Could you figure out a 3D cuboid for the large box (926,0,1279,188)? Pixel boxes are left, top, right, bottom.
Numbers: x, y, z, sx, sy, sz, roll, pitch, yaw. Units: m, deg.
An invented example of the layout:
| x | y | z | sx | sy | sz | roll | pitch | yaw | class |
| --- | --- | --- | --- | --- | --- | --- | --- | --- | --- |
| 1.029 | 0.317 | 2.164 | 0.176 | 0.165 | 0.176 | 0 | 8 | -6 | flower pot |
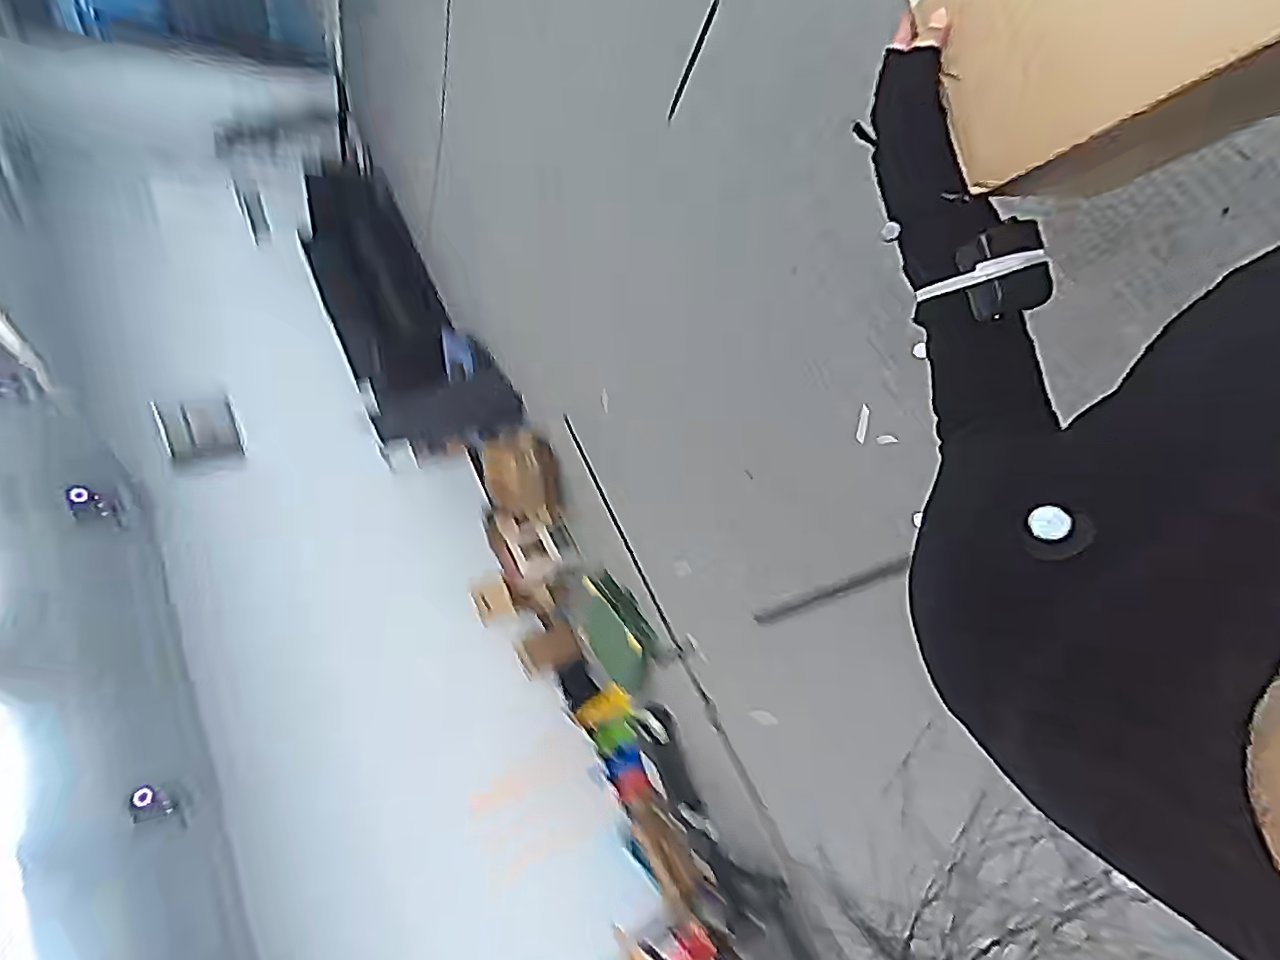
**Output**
| x | y | z | sx | sy | sz | roll | pitch | yaw | class |
| --- | --- | --- | --- | --- | --- | --- | --- | --- | --- |
| 0.433 | -0.441 | 0.330 | 0.408 | 0.320 | 0.320 | -13 | 98 | 54 | large box |
